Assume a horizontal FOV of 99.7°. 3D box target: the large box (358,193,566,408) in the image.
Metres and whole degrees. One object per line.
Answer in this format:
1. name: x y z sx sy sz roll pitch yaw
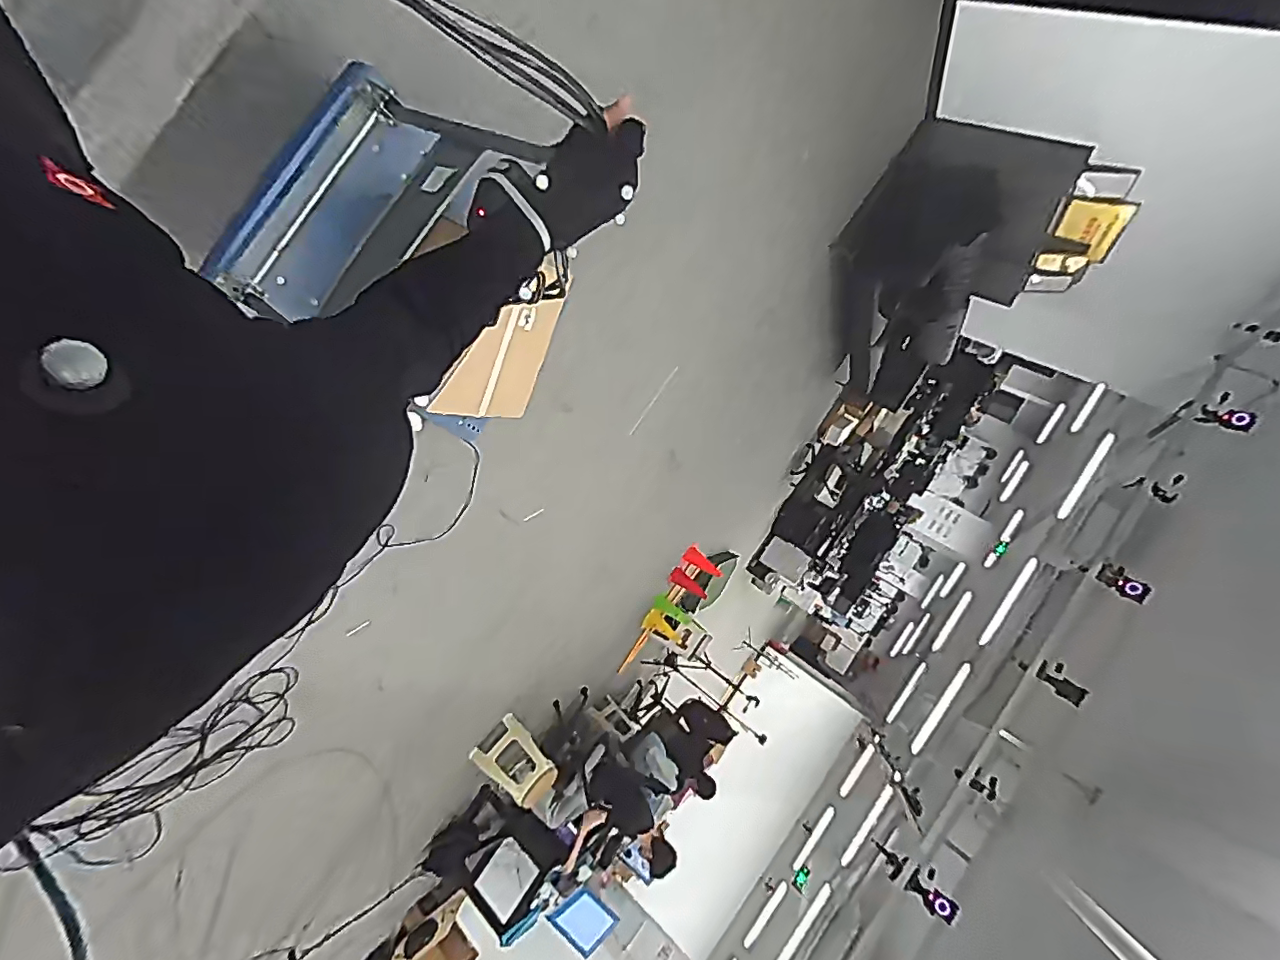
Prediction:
1. large box: -0.454 -0.431 1.368 0.320 0.320 0.408 -6 124 -58
